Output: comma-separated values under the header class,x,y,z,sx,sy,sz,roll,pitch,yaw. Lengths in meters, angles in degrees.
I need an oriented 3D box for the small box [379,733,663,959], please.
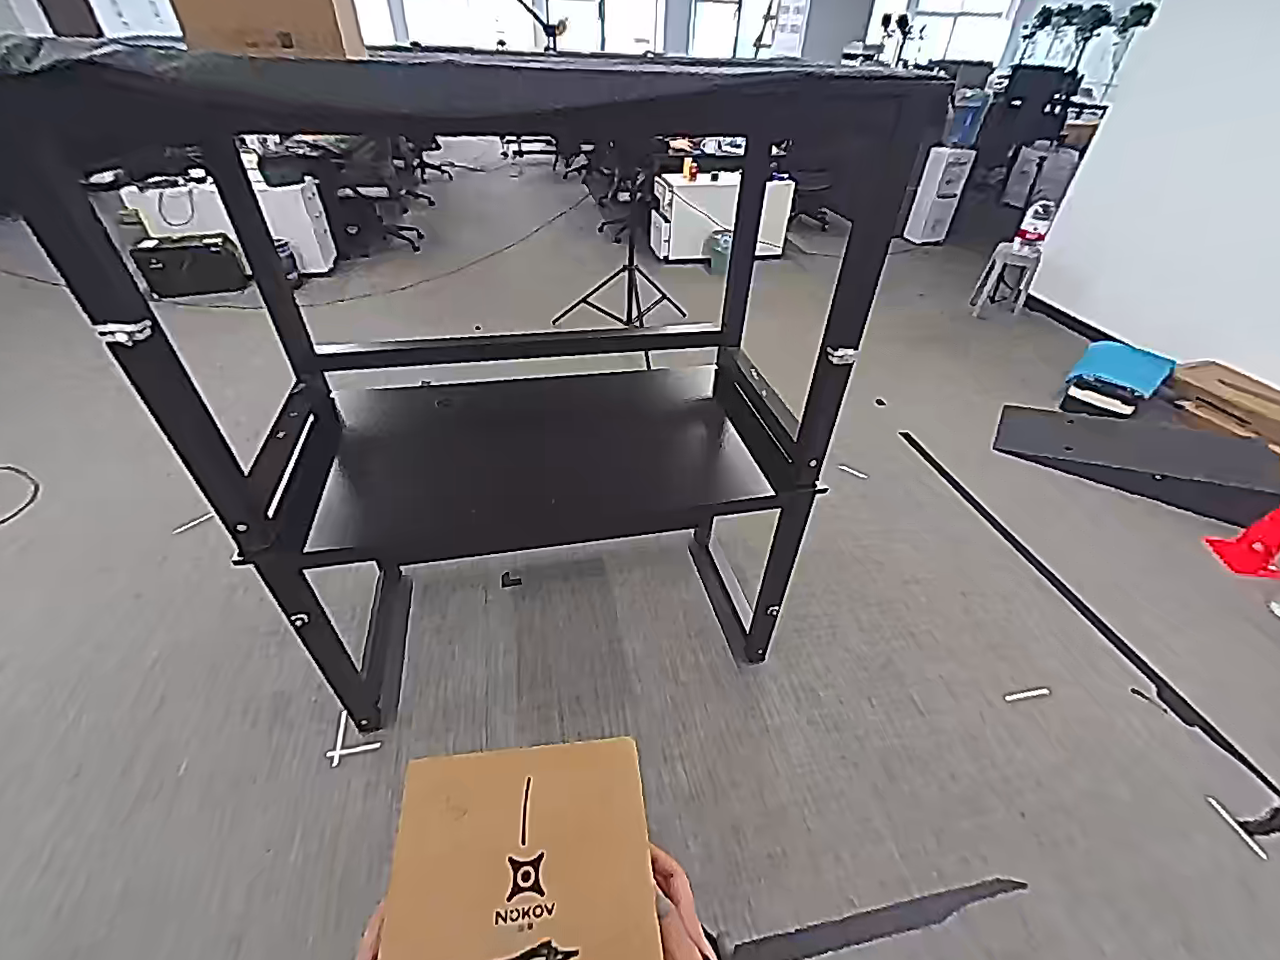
class,x,y,z,sx,sy,sz,roll,pitch,yaw
small box,-0.078,0.311,0.393,0.168,0.176,0.179,-2,44,-9
